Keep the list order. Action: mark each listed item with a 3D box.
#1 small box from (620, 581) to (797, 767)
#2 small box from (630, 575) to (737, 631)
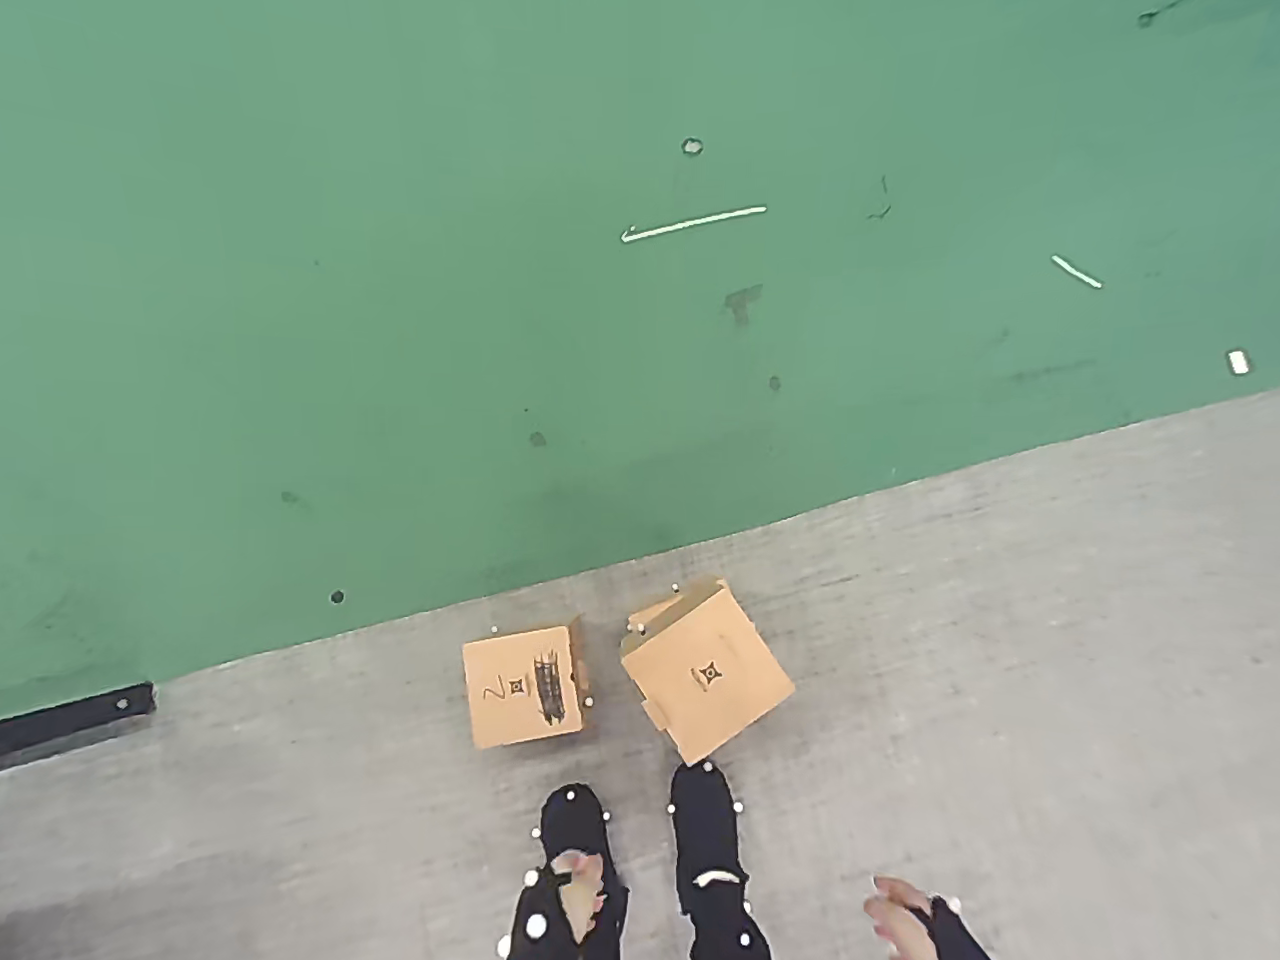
[{"bbox_3d":[0.088,0.263,0.777,0.179,0.176,0.168,-34,85,-6],"label":"small box"},{"bbox_3d":[0.091,0.273,0.940,0.179,0.176,0.168,-21,83,-4],"label":"small box"}]
